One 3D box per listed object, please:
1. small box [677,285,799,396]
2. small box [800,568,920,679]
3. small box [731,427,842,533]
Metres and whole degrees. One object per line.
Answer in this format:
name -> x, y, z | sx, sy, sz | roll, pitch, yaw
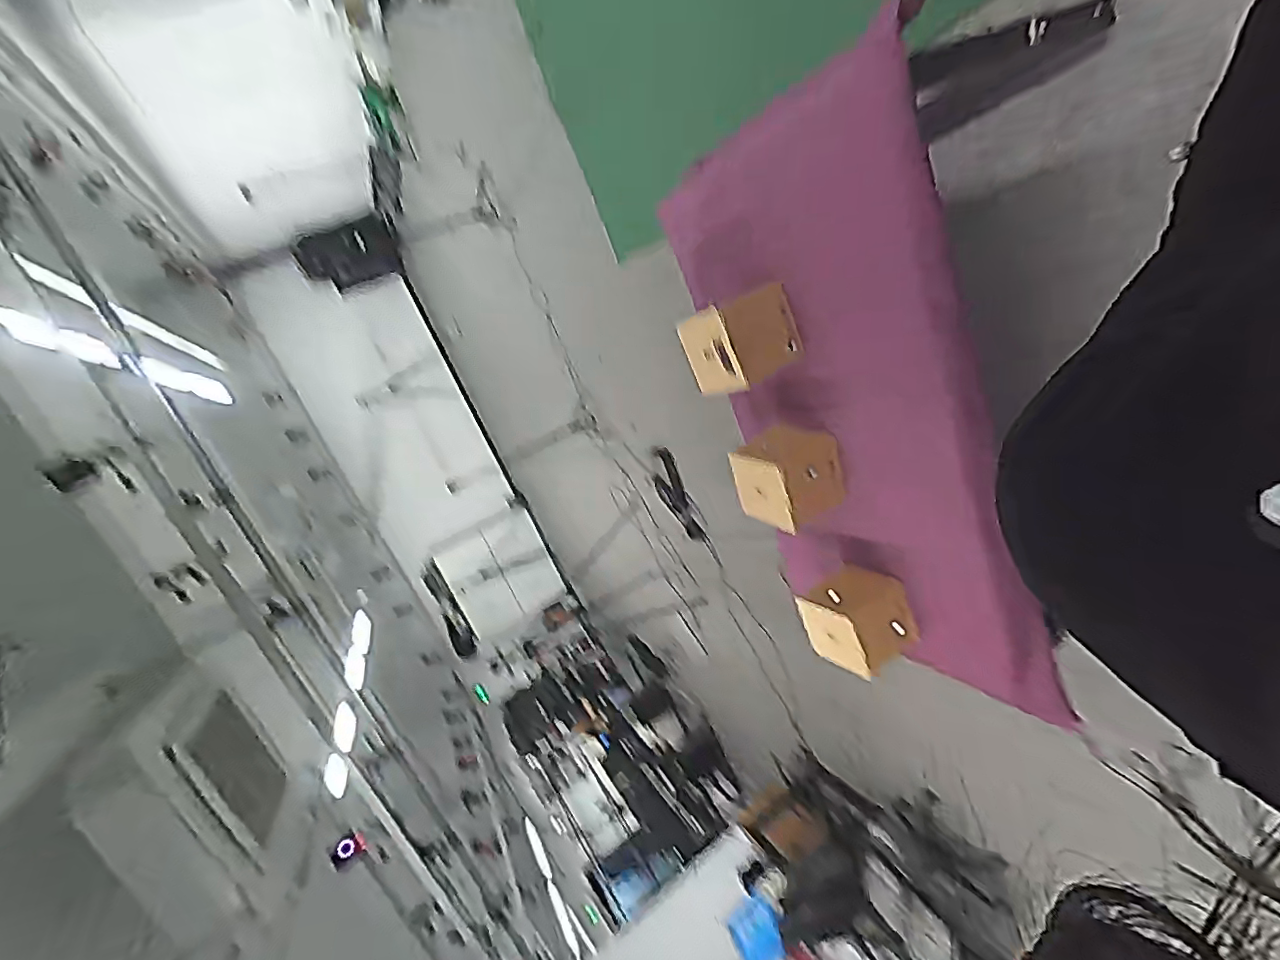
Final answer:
small box -> 0.215, -0.296, 1.156 | 0.168, 0.176, 0.179 | 65, 160, -13
small box -> 0.517, 0.327, 1.275 | 0.179, 0.176, 0.168 | 8, 124, 64
small box -> 0.342, -0.009, 1.242 | 0.179, 0.176, 0.168 | 25, 139, 58
